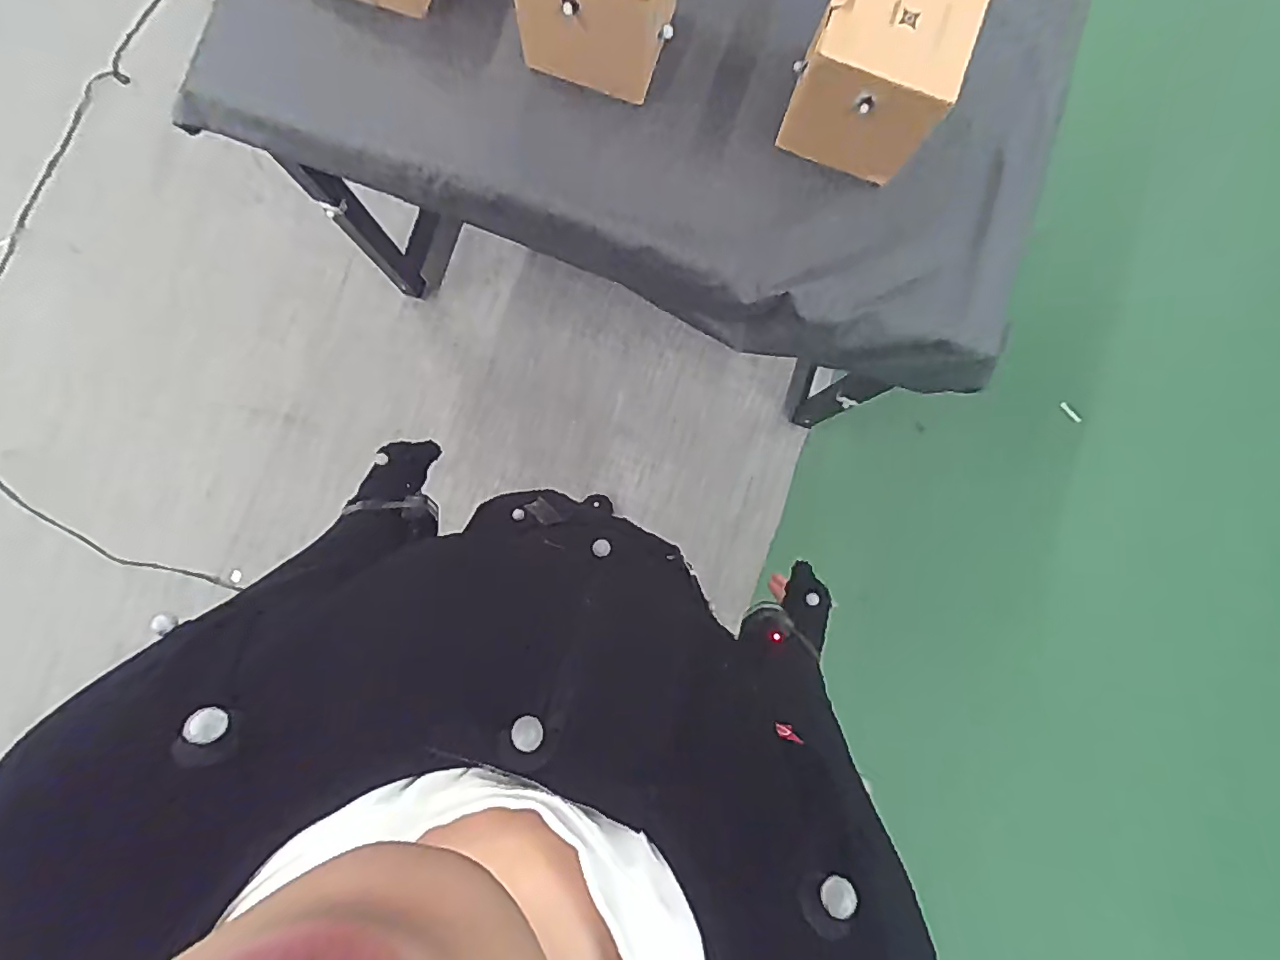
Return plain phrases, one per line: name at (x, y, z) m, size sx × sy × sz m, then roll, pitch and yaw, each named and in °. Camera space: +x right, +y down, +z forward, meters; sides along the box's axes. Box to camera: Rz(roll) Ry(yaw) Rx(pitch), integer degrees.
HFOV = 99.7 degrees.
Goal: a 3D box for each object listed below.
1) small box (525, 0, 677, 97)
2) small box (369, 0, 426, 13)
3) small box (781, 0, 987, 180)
small box at (-0.048, -0.653, 0.708) m, size 0.179 × 0.176 × 0.168 m, roll 18°, pitch 86°, yaw -2°
small box at (-0.362, -0.767, 0.700) m, size 0.179 × 0.176 × 0.168 m, roll 15°, pitch 86°, yaw -2°
small box at (0.309, -0.541, 0.719) m, size 0.179 × 0.176 × 0.168 m, roll 19°, pitch 87°, yaw -2°
